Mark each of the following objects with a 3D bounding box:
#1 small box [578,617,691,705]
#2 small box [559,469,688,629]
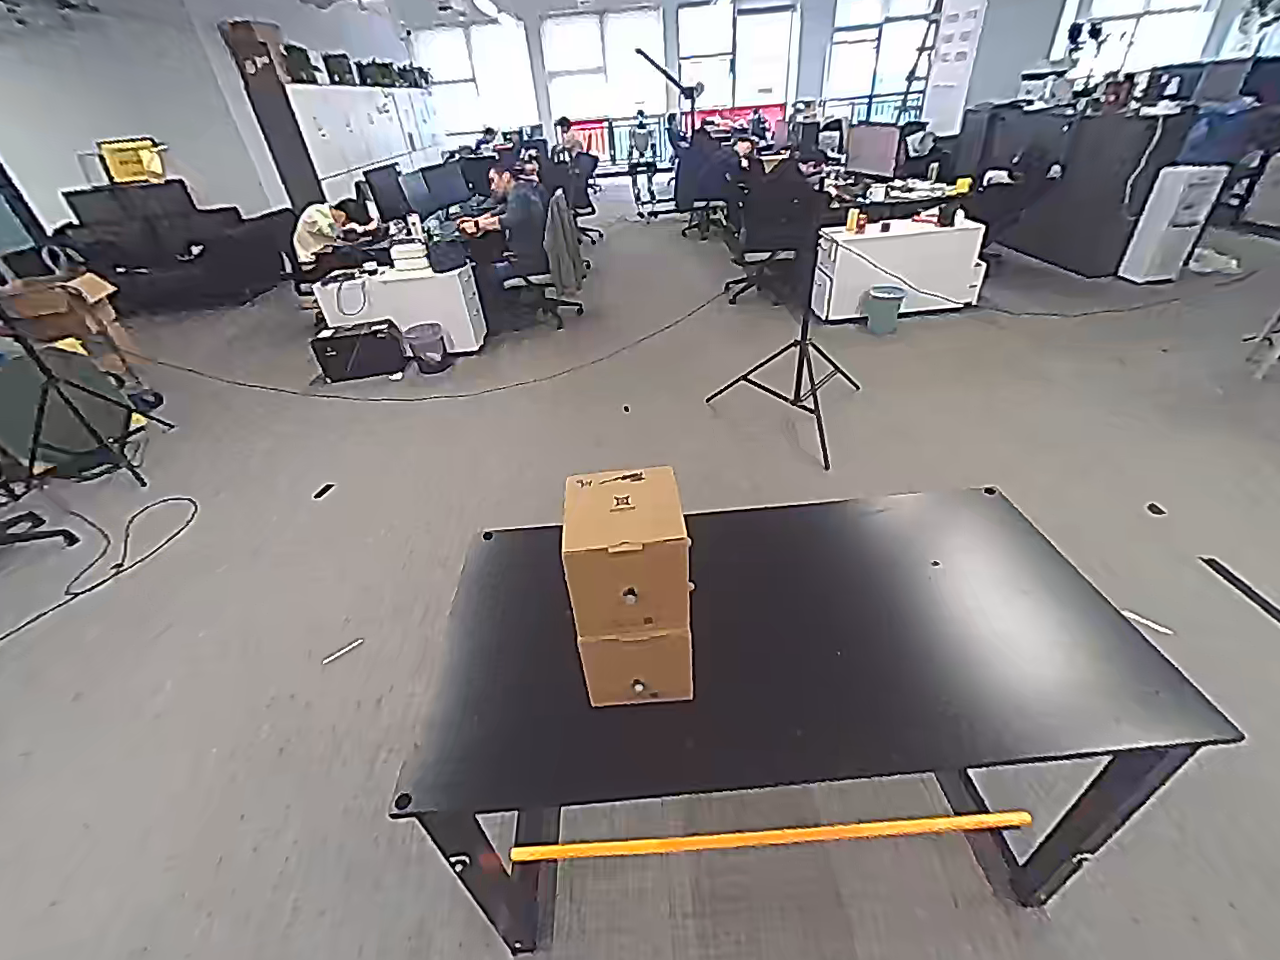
[{"bbox_3d":[-0.005,0.245,0.896,0.168,0.176,0.179,-5,35,2],"label":"small box"},{"bbox_3d":[-0.021,0.107,0.810,0.168,0.176,0.179,-6,36,-1],"label":"small box"}]
